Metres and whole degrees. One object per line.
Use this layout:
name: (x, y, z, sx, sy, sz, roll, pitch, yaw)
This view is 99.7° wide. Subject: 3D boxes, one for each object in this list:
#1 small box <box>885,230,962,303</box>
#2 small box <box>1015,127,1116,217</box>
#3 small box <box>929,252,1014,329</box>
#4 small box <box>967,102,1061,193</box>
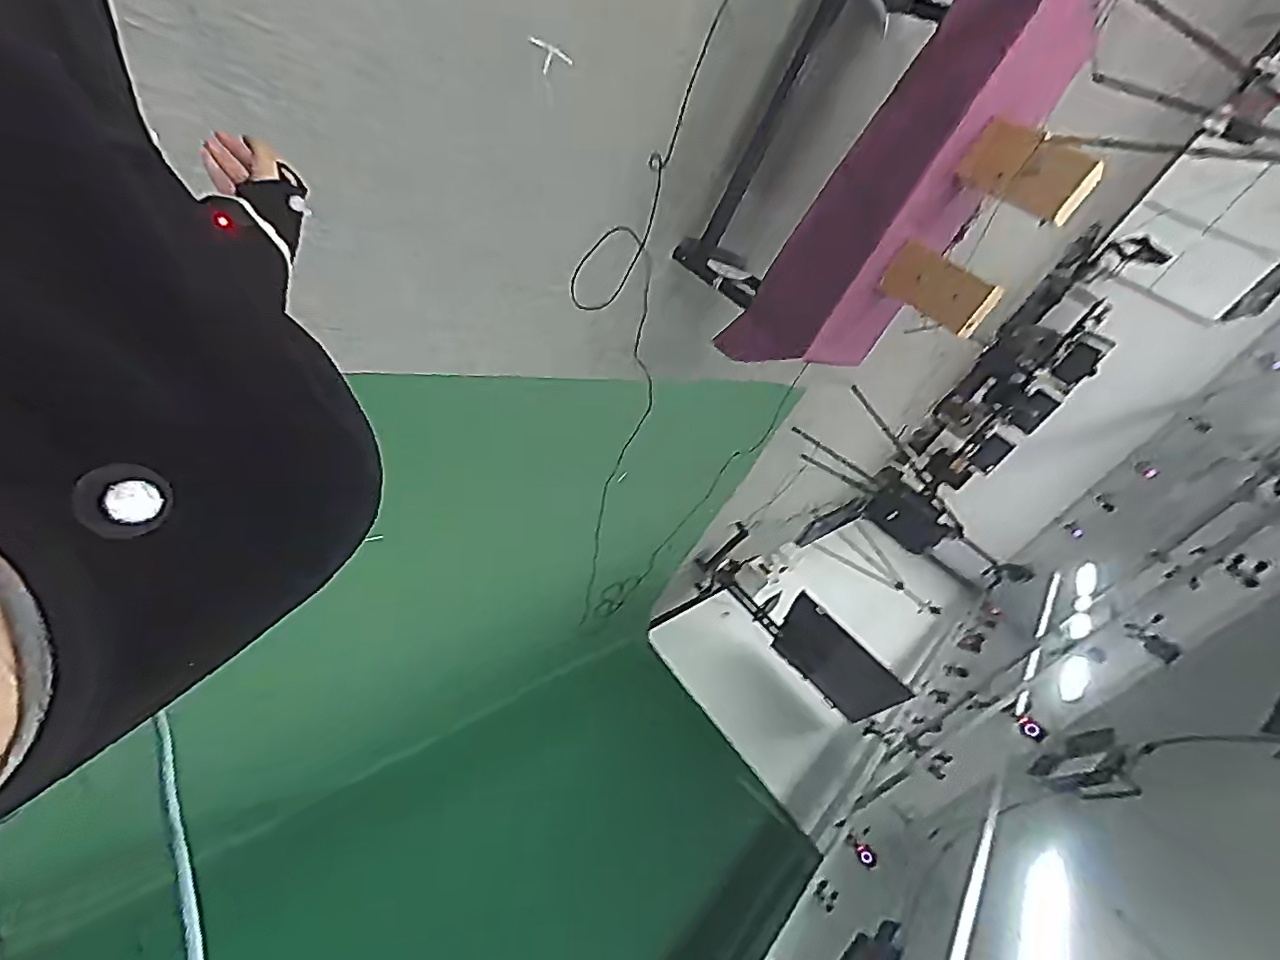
small box: (0.986, -0.731, 1.862, 0.168, 0.176, 0.179, -10, 139, -48)
small box: (1.259, -0.914, 1.606, 0.179, 0.176, 0.168, -14, 141, -47)
small box: (1.089, -0.626, 1.792, 0.168, 0.176, 0.179, -11, 139, -48)
small box: (1.156, -1.027, 1.669, 0.168, 0.176, 0.179, -13, 142, -47)
